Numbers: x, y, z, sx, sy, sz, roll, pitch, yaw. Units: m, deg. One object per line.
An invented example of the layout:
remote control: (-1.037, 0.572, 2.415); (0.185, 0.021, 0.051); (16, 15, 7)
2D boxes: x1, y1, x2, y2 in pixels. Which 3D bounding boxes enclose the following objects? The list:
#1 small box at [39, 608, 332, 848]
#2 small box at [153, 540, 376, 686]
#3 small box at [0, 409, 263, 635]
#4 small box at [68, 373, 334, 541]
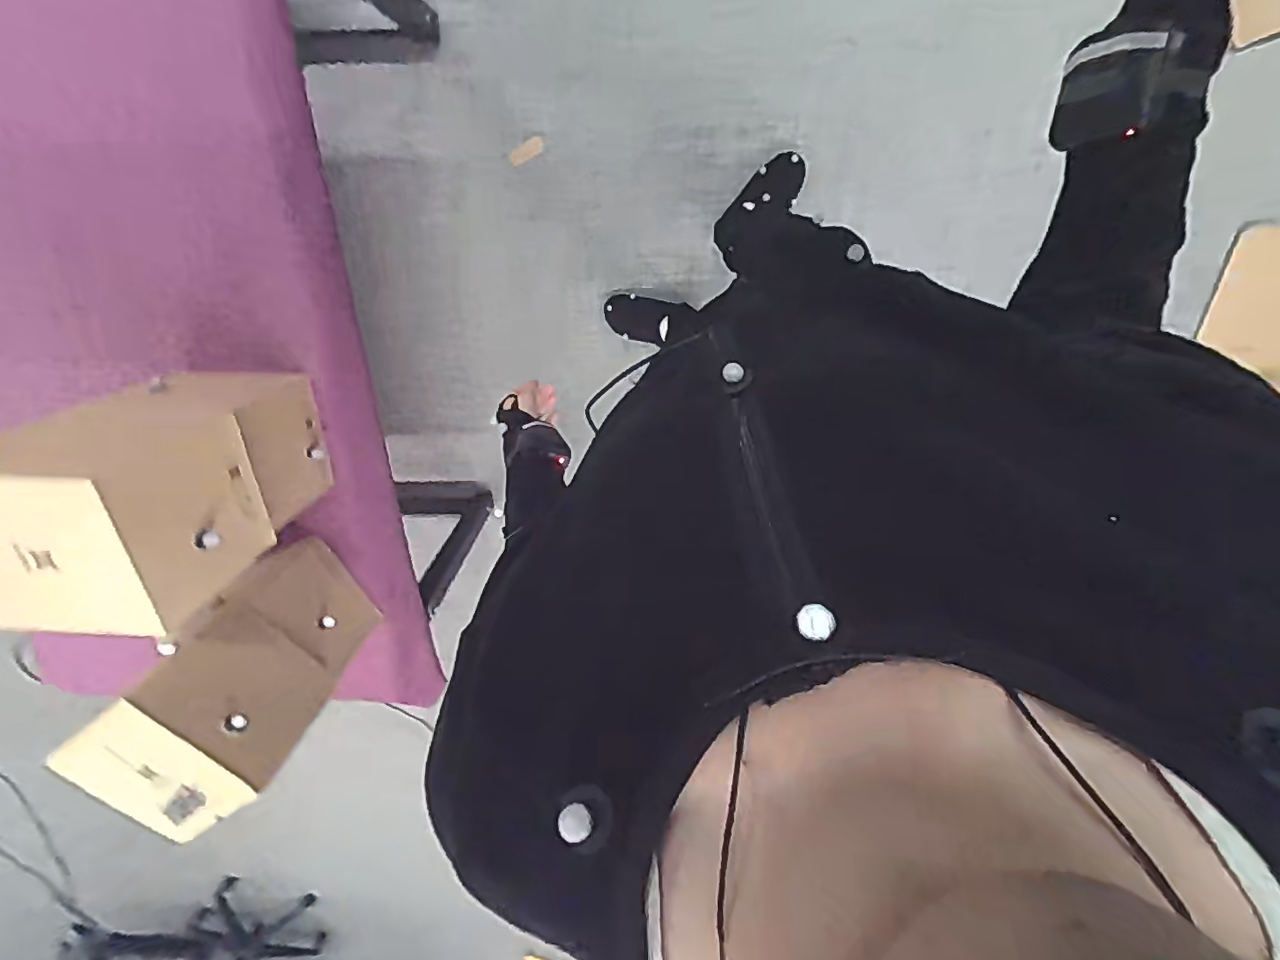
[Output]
small box: (-0.525, 0.292, 0.655); (0.168, 0.176, 0.179); (-34, 108, 16)
small box: (-0.536, 0.221, 0.805); (0.168, 0.176, 0.179); (-22, 112, 11)
small box: (-0.521, 0.032, 0.540); (0.179, 0.176, 0.168); (2, 116, 3)
small box: (-0.534, -0.035, 0.688); (0.179, 0.176, 0.168); (2, 116, 1)
